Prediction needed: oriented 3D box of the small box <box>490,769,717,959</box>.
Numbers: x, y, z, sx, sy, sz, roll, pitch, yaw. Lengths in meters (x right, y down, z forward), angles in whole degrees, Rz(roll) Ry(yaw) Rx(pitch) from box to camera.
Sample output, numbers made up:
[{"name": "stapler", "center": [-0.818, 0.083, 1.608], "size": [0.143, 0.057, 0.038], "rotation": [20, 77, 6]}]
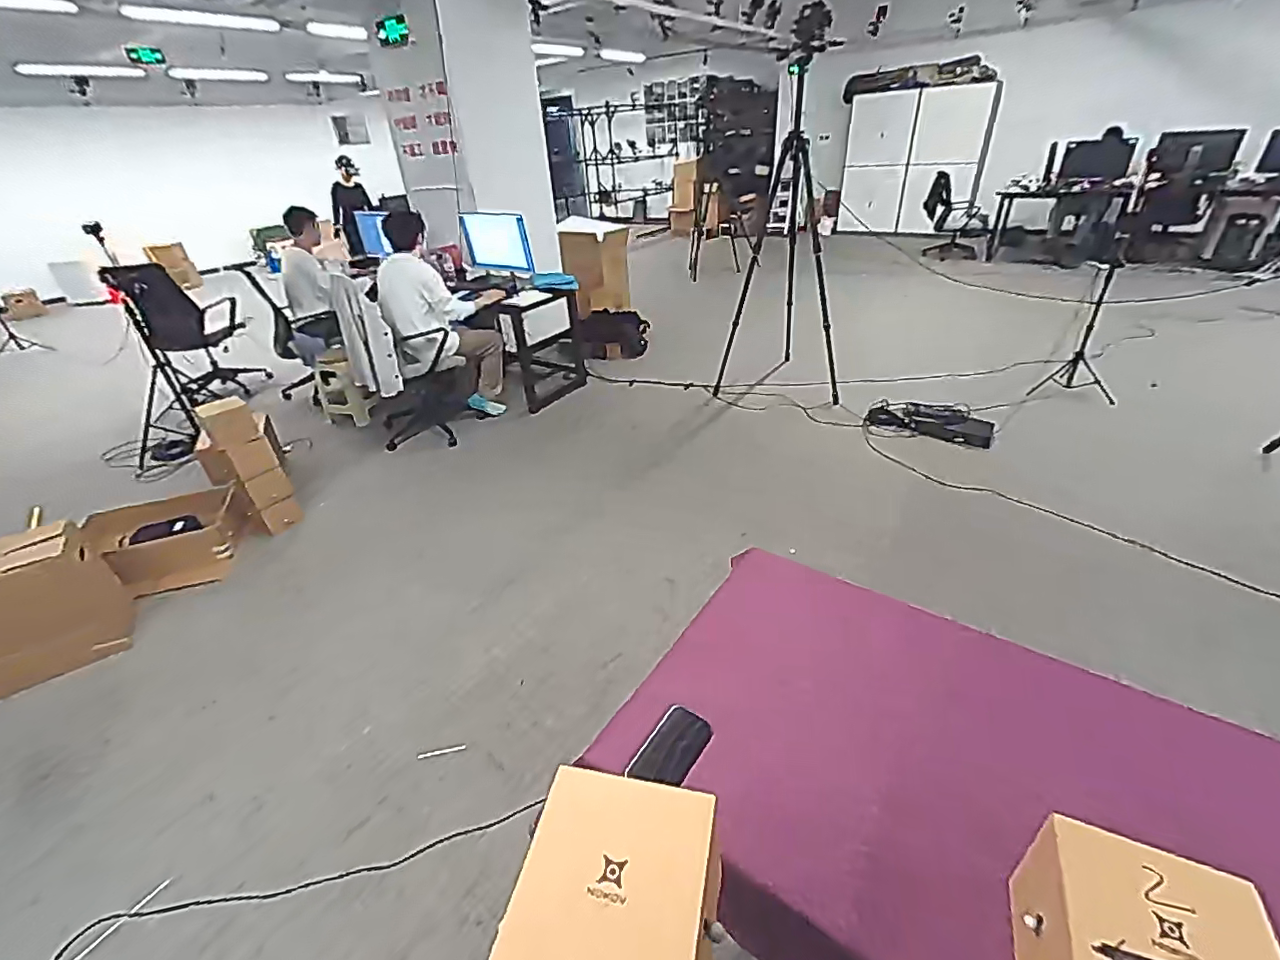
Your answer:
[{"name": "small box", "center": [-0.018, 0.423, 0.525], "size": [0.168, 0.176, 0.179], "rotation": [3, 36, 15]}]
